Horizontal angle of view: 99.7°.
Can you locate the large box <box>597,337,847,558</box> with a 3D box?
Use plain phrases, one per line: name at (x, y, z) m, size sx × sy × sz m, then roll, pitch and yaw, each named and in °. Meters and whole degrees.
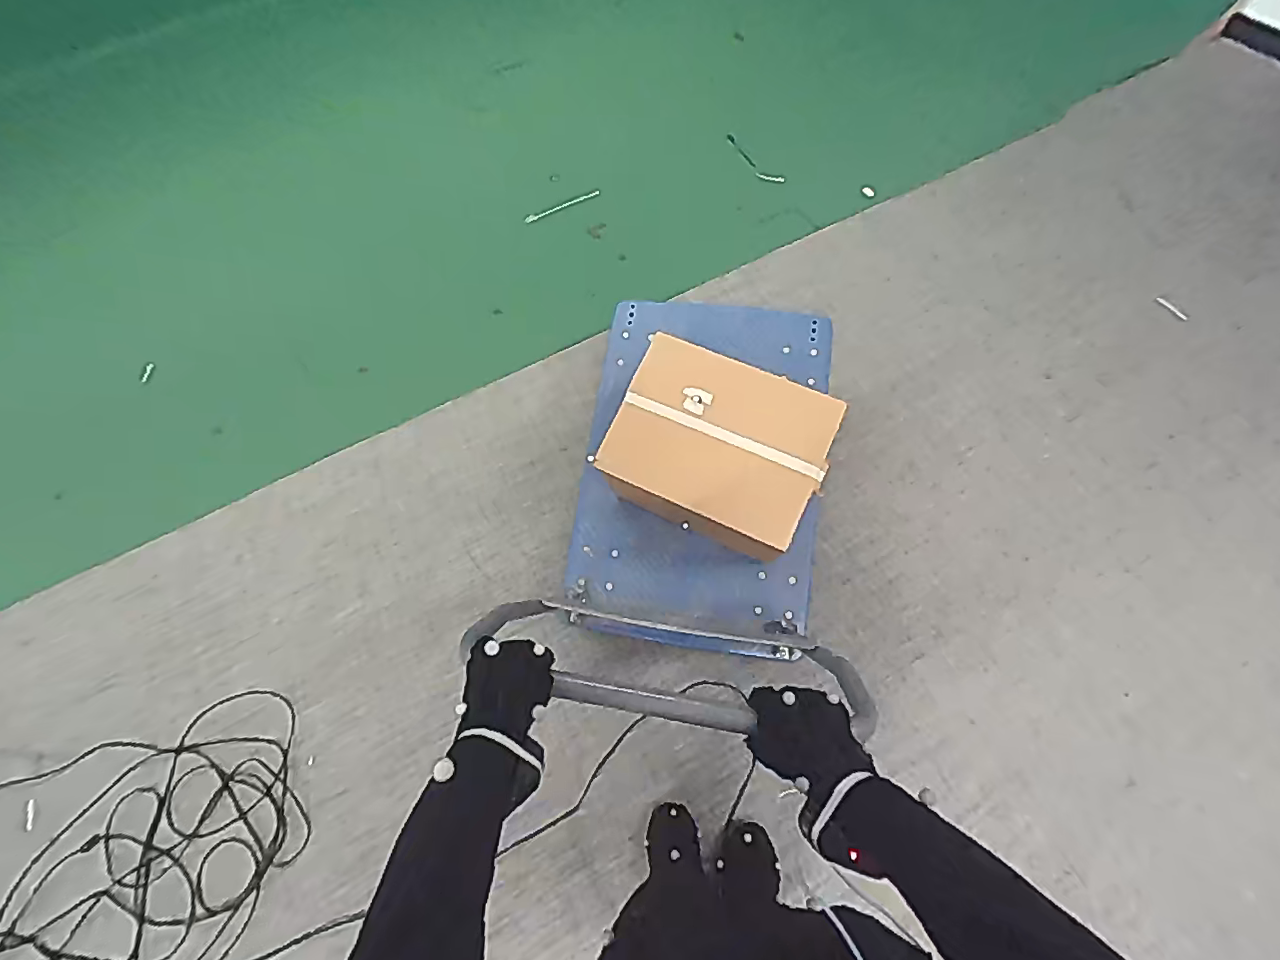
large box at (0.176, -0.052, 1.181) m, size 0.408 × 0.320 × 0.320 m, roll 23°, pitch 81°, yaw 13°
